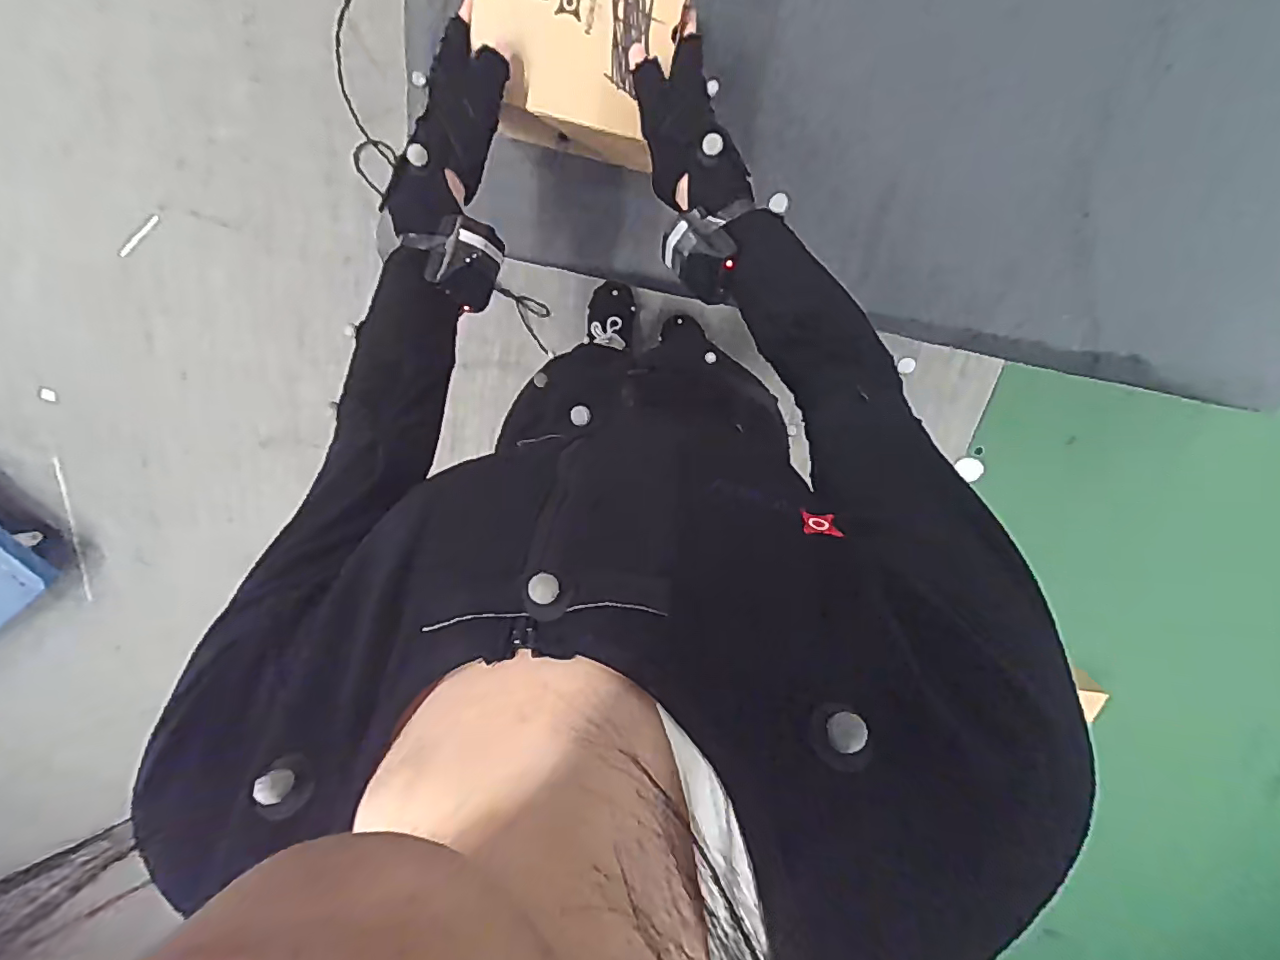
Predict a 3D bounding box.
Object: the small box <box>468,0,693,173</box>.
[{"bbox_3d":[-0.051,-0.417,0.527,0.179,0.176,0.168,11,110,-5],"label":"small box"}]
